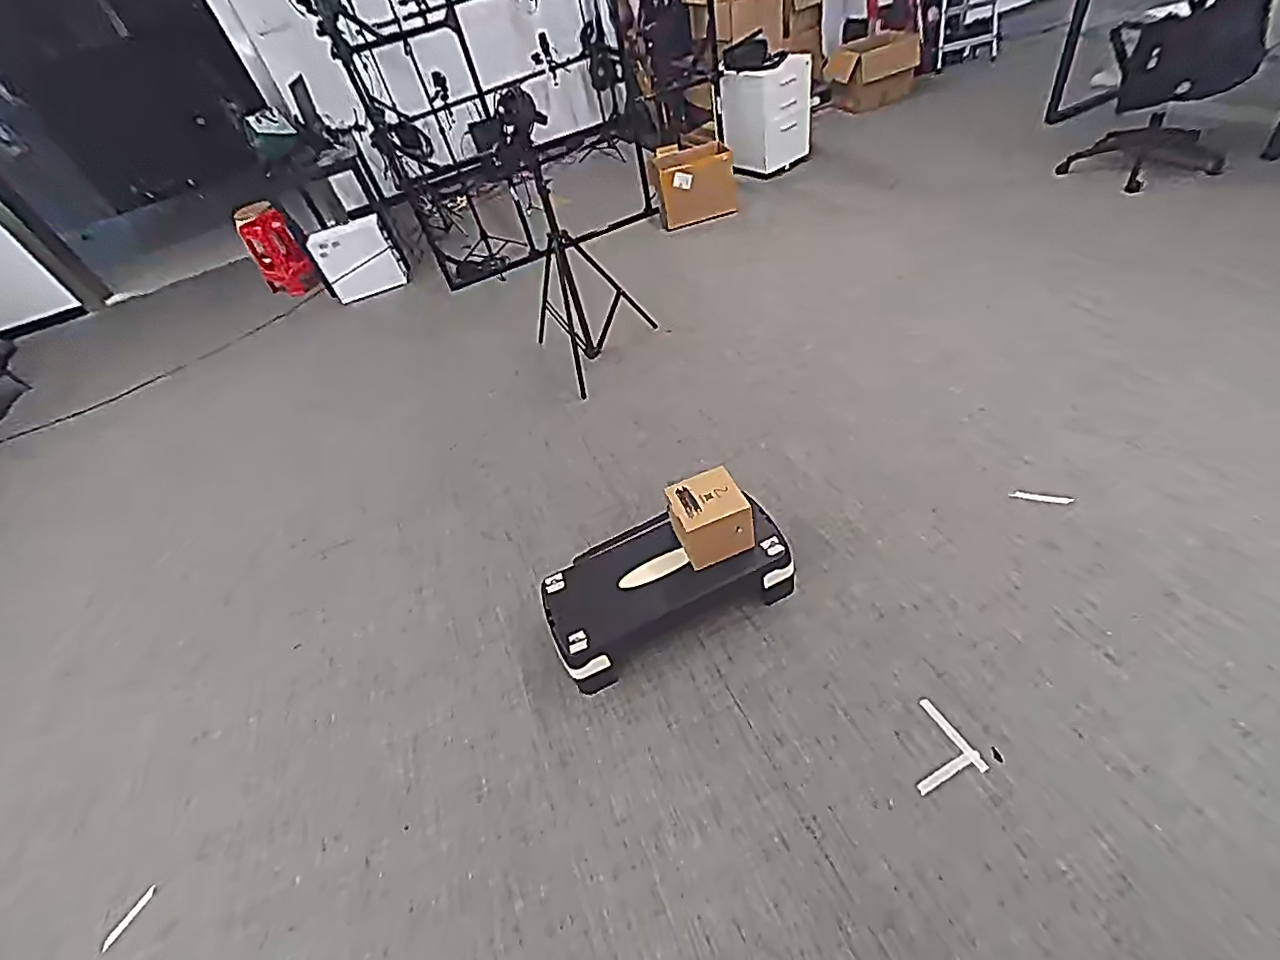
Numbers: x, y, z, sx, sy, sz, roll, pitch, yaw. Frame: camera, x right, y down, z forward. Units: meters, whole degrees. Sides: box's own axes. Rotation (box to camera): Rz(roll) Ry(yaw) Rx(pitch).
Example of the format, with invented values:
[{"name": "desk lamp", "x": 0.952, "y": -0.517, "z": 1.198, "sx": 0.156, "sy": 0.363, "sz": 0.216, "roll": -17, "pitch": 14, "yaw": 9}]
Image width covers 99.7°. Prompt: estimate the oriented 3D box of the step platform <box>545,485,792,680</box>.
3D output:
[{"name": "step platform", "x": 0.079, "y": 0.276, "z": 1.533, "sx": 0.684, "sy": 0.204, "sz": 0.286, "roll": -25, "pitch": 45, "yaw": -8}]
